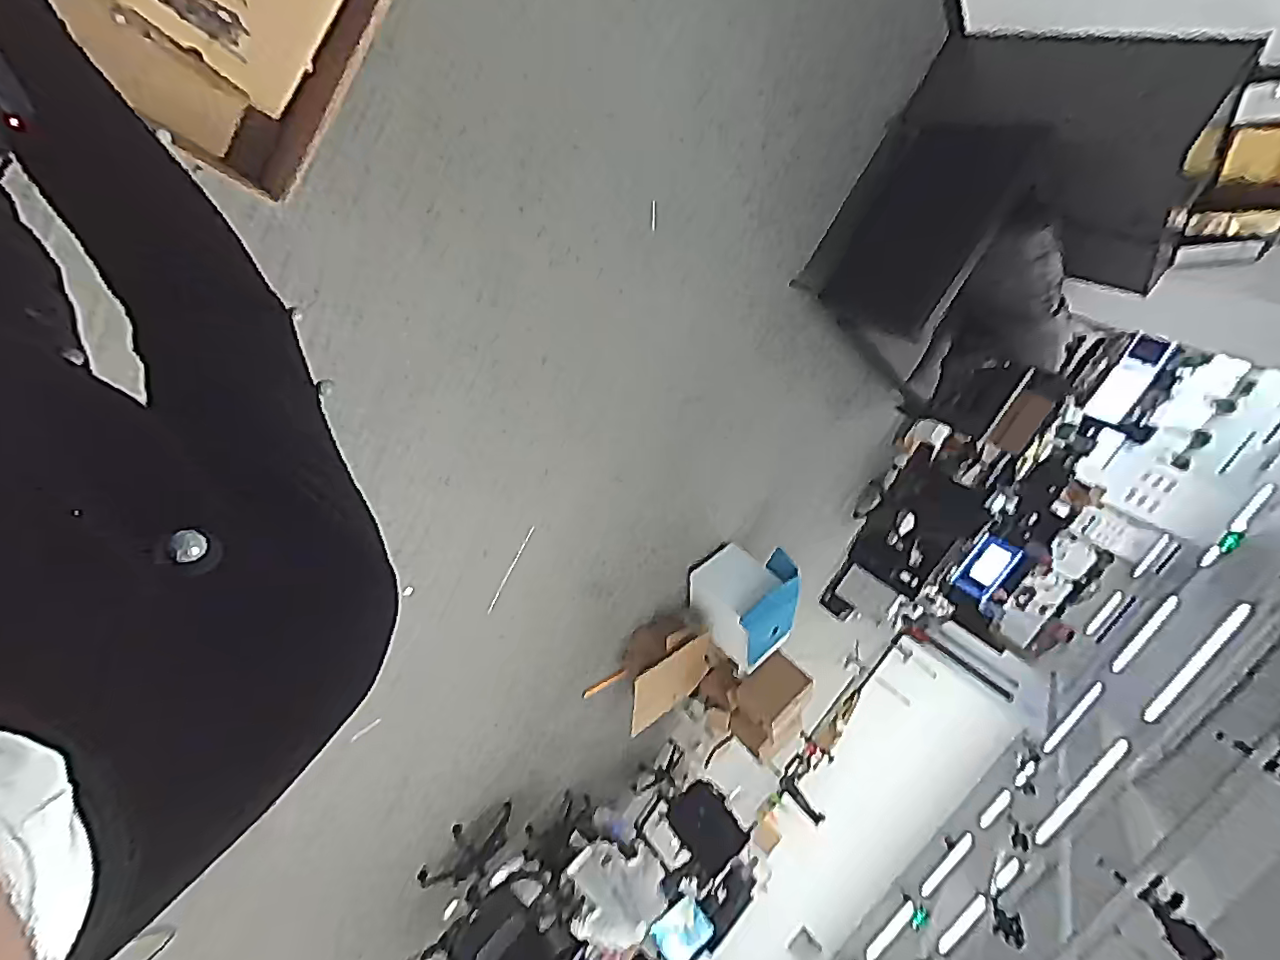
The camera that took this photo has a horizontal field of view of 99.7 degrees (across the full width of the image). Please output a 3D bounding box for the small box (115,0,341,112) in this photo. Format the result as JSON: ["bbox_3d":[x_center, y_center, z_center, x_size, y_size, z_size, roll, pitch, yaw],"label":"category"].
[{"bbox_3d":[-0.457,-0.547,0.586,0.179,0.176,0.168,-56,144,6],"label":"small box"}]
